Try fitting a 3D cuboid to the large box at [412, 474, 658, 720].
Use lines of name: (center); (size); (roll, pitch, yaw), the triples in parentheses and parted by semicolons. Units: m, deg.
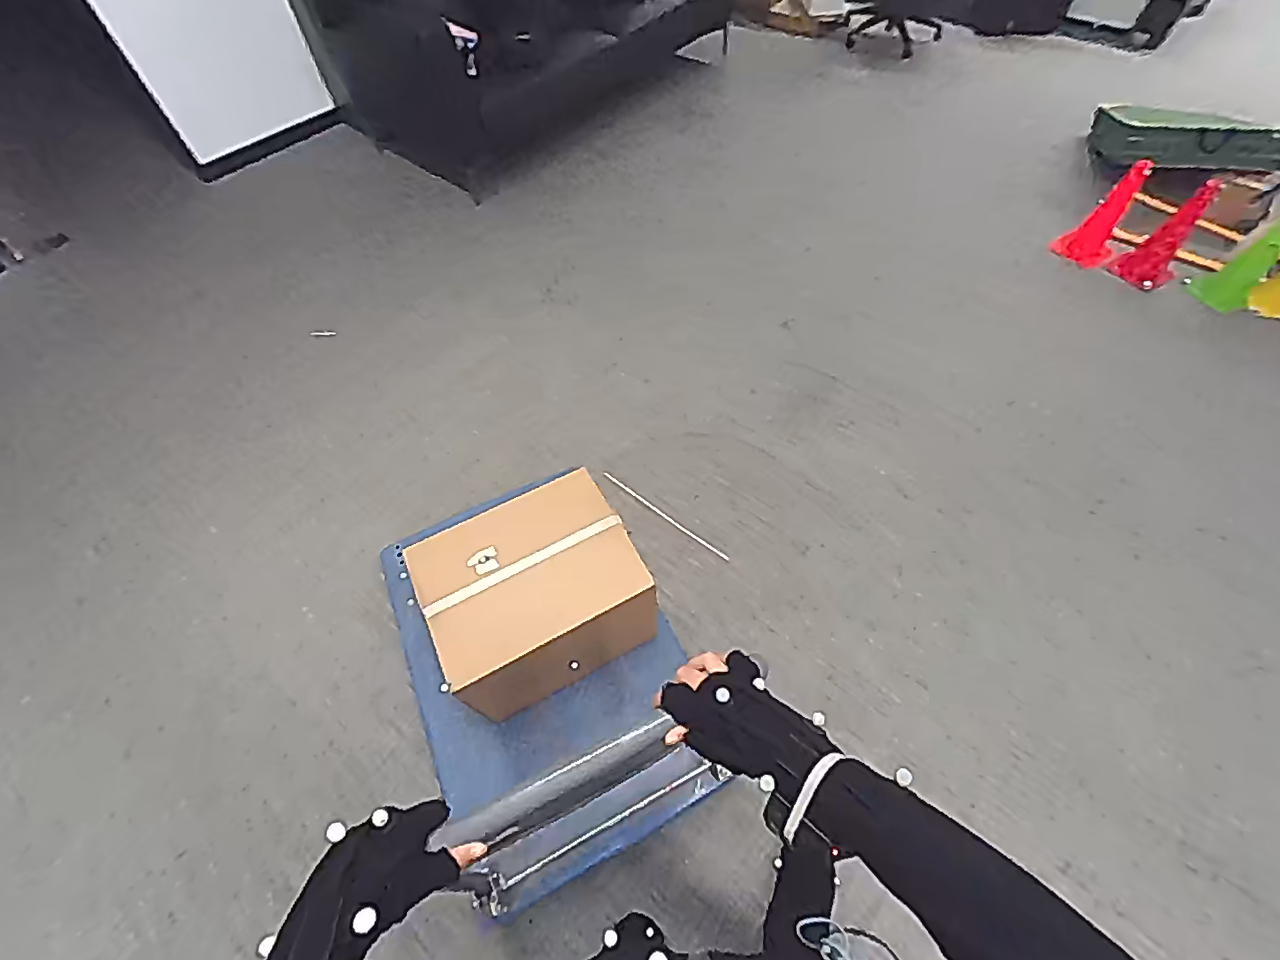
large box: (-0.207, 0.259, 1.181); (0.408, 0.320, 0.320); (-27, 58, -13)
